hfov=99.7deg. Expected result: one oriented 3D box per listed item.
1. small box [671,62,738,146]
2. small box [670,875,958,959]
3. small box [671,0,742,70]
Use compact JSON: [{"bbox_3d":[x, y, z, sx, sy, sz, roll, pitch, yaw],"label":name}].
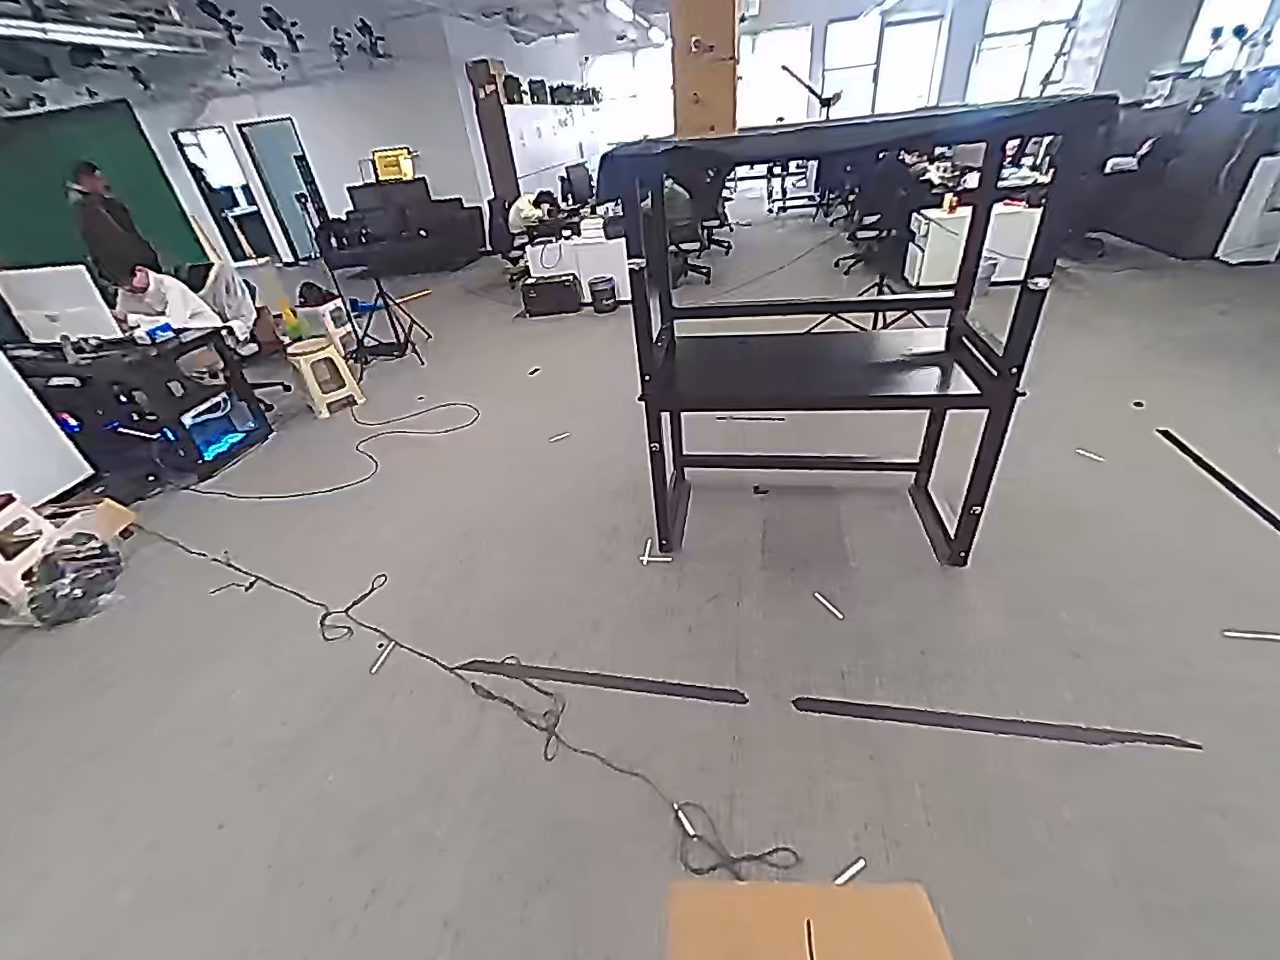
[{"bbox_3d":[0.181,-1.017,1.473,0.168,0.176,0.179,2,32,11],"label":"small box"},{"bbox_3d":[0.101,0.369,0.311,0.168,0.176,0.179,1,28,1],"label":"small box"},{"bbox_3d":[0.173,-1.155,1.387,0.168,0.176,0.179,2,33,13],"label":"small box"}]
